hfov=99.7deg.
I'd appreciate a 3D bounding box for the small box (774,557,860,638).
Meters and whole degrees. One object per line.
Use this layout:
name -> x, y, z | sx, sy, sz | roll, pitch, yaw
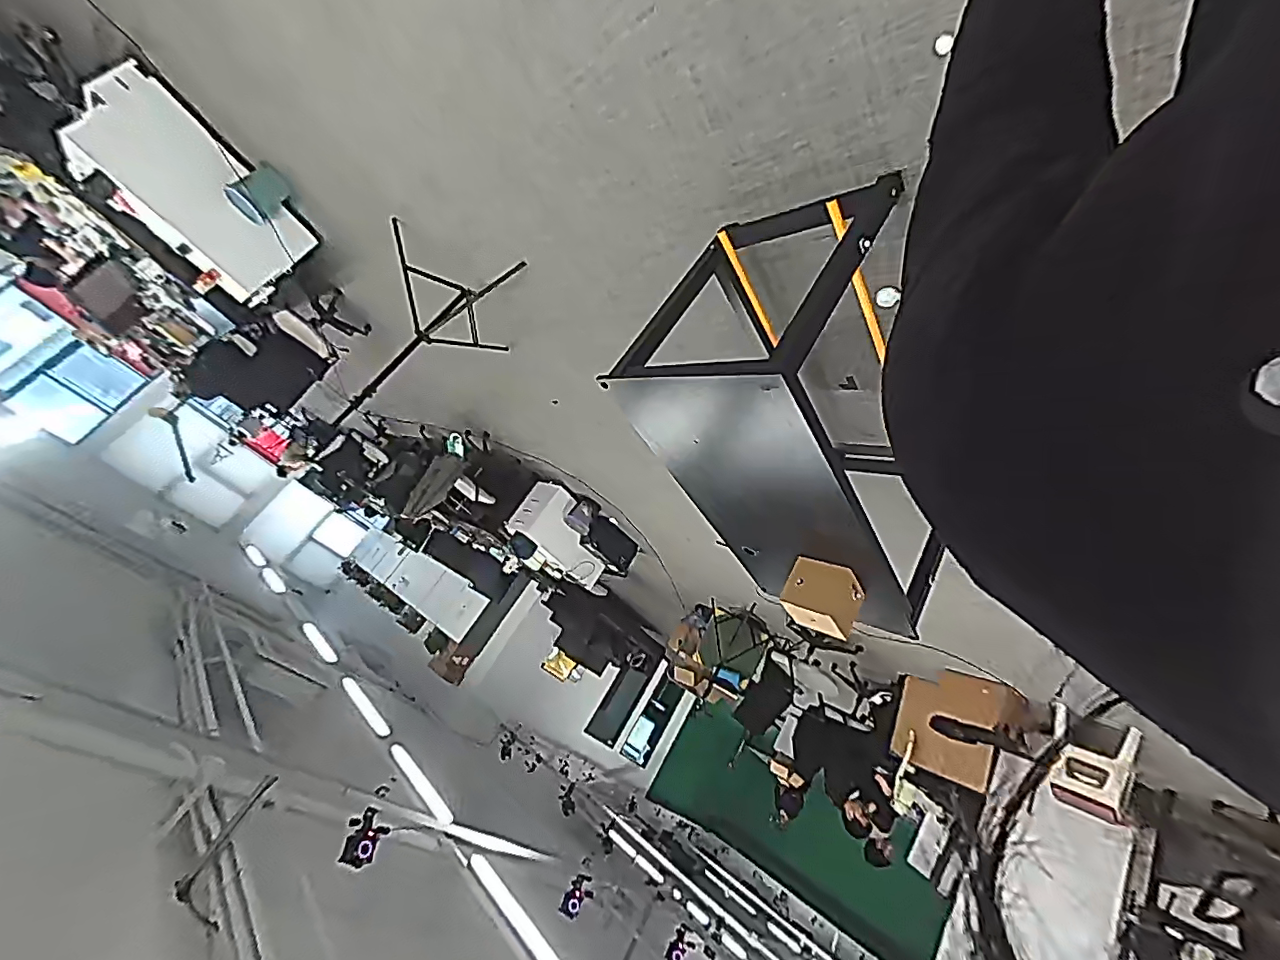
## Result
small box -> 0.556, 0.359, 1.690 | 0.179, 0.176, 0.168 | 9, 149, 46
